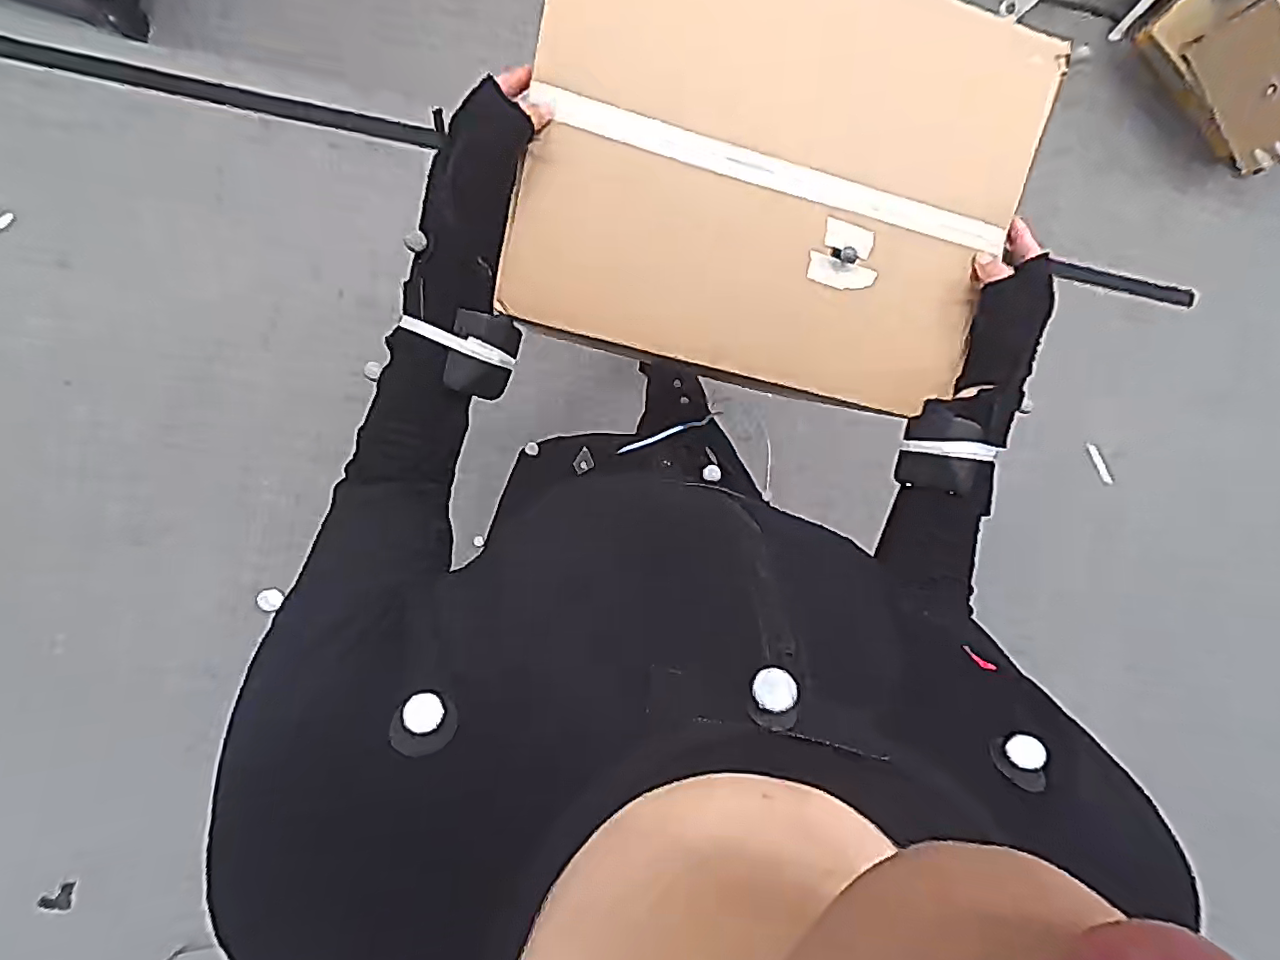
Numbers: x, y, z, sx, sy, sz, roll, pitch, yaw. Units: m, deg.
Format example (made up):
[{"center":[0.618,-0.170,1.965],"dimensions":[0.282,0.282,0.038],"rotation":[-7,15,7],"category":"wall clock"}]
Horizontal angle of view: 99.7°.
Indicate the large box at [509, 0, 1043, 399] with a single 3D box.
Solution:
[{"center":[0.094,-0.289,0.591],"dimensions":[0.408,0.320,0.320],"rotation":[12,102,-10],"category":"large box"}]
